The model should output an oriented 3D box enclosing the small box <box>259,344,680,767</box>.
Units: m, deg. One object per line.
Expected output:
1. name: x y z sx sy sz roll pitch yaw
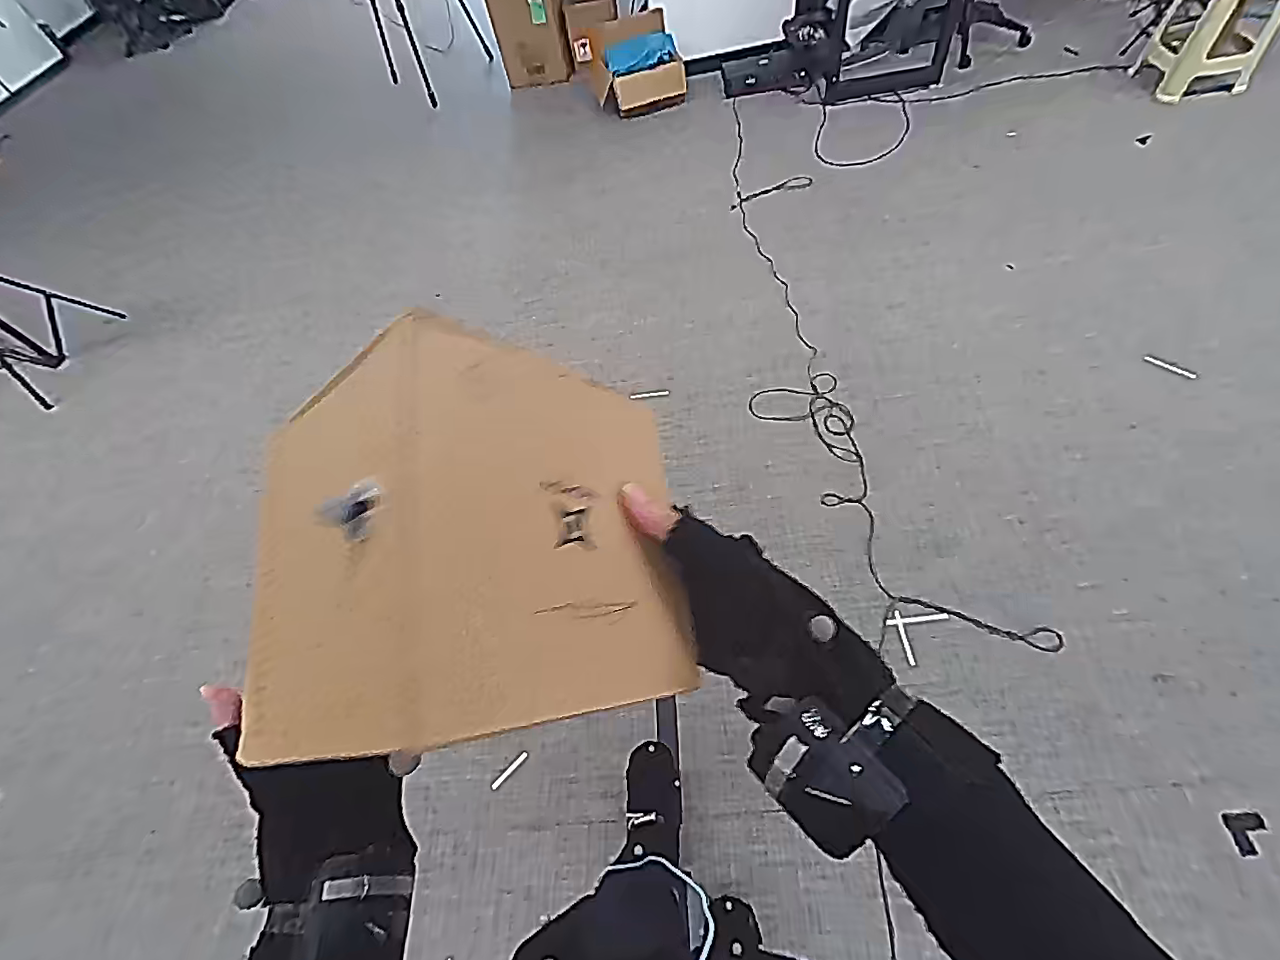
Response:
1. small box: -0.104 0.057 0.322 0.176 0.168 0.179 -26 65 37
